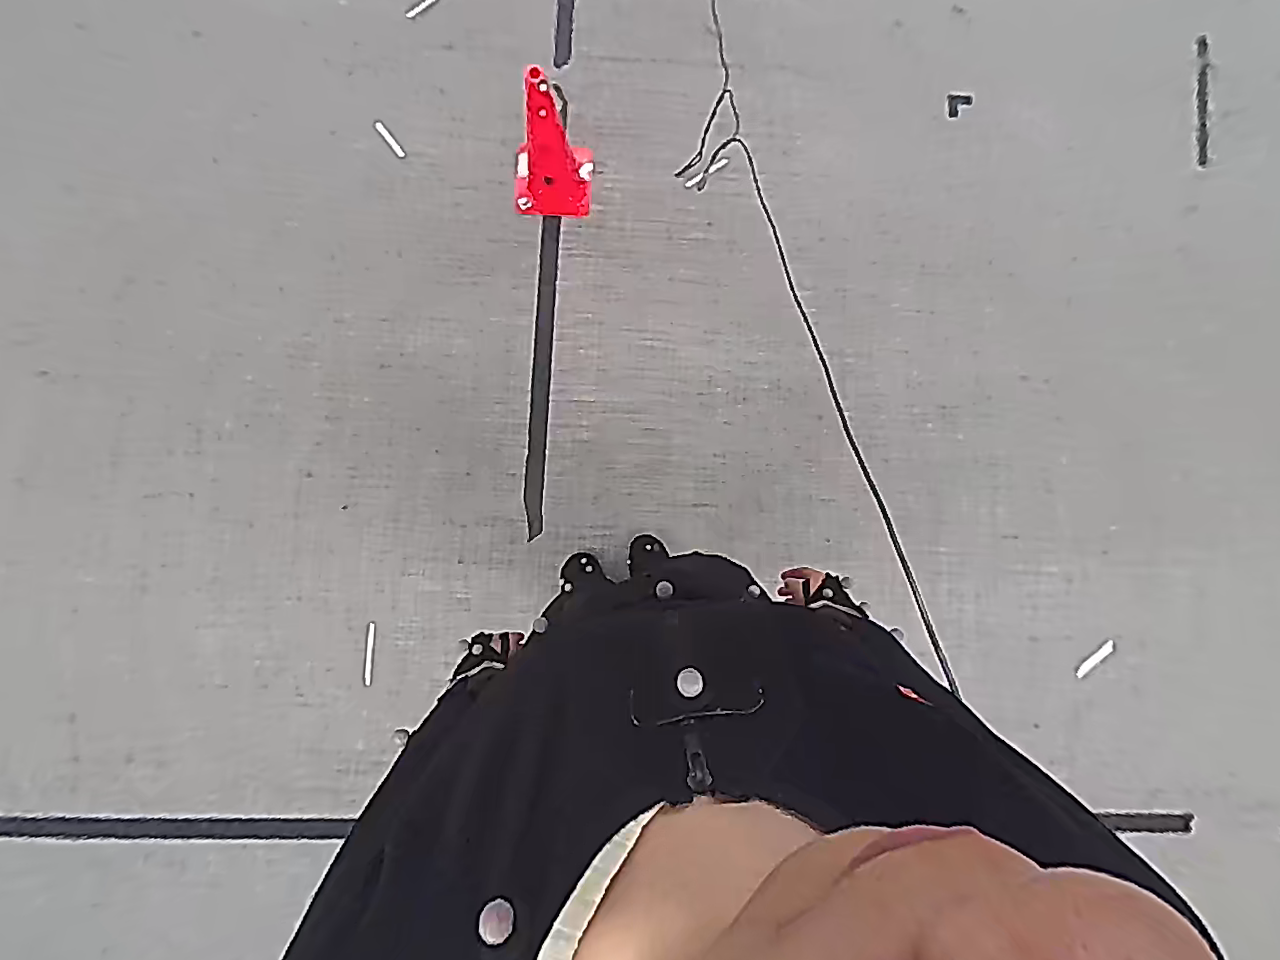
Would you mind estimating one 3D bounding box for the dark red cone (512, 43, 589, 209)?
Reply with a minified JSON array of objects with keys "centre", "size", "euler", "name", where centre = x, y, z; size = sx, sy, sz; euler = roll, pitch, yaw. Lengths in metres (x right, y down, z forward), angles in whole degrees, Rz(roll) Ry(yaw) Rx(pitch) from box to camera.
[{"centre":[-0.224,-0.828,1.263],"size":[0.201,0.394,0.202],"euler":[2,85,-4],"name":"dark red cone"}]
